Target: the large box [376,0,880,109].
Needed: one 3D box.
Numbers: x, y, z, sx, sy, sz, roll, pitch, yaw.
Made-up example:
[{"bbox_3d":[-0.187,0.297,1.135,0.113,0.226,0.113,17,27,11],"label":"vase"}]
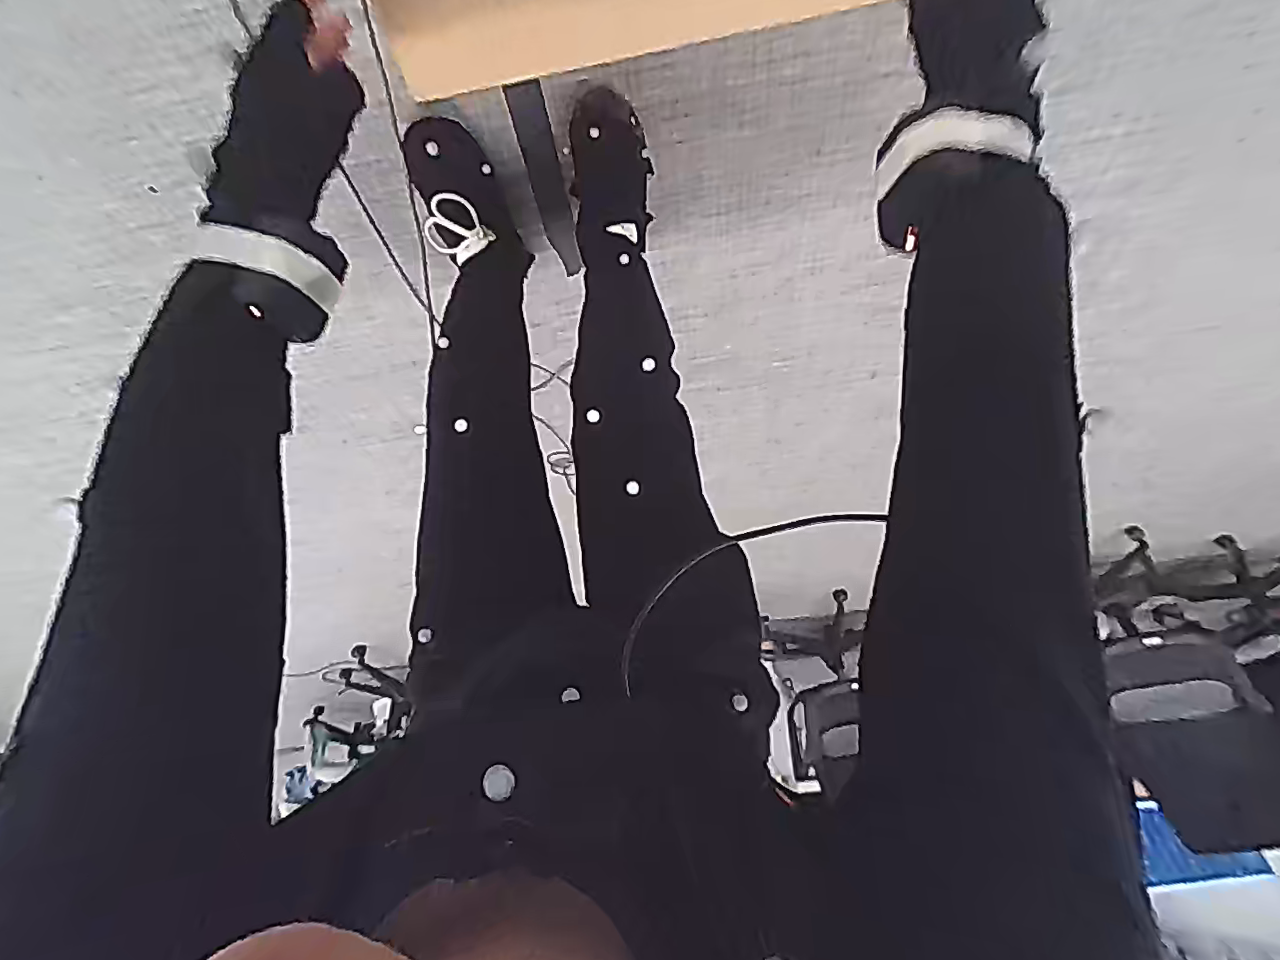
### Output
[{"bbox_3d":[-0.027,-0.554,0.401,0.408,0.320,0.320,-10,145,4],"label":"large box"}]
